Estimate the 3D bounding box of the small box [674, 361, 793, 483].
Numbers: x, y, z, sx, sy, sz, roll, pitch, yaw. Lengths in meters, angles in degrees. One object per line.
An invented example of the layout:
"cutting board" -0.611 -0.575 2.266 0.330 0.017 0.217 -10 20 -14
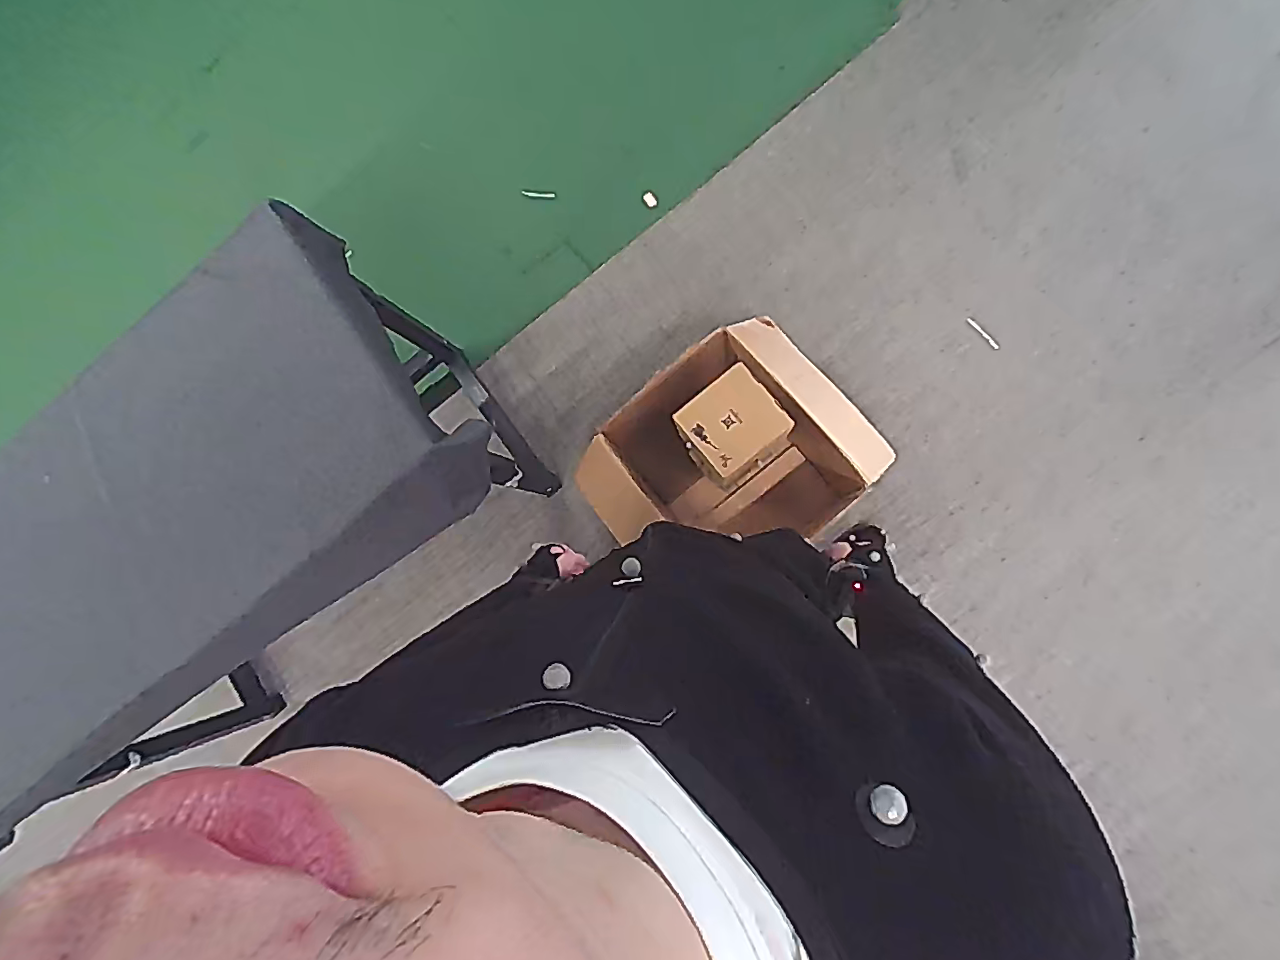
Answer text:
"small box" 0.188 -0.112 1.125 0.179 0.176 0.168 -38 80 2
